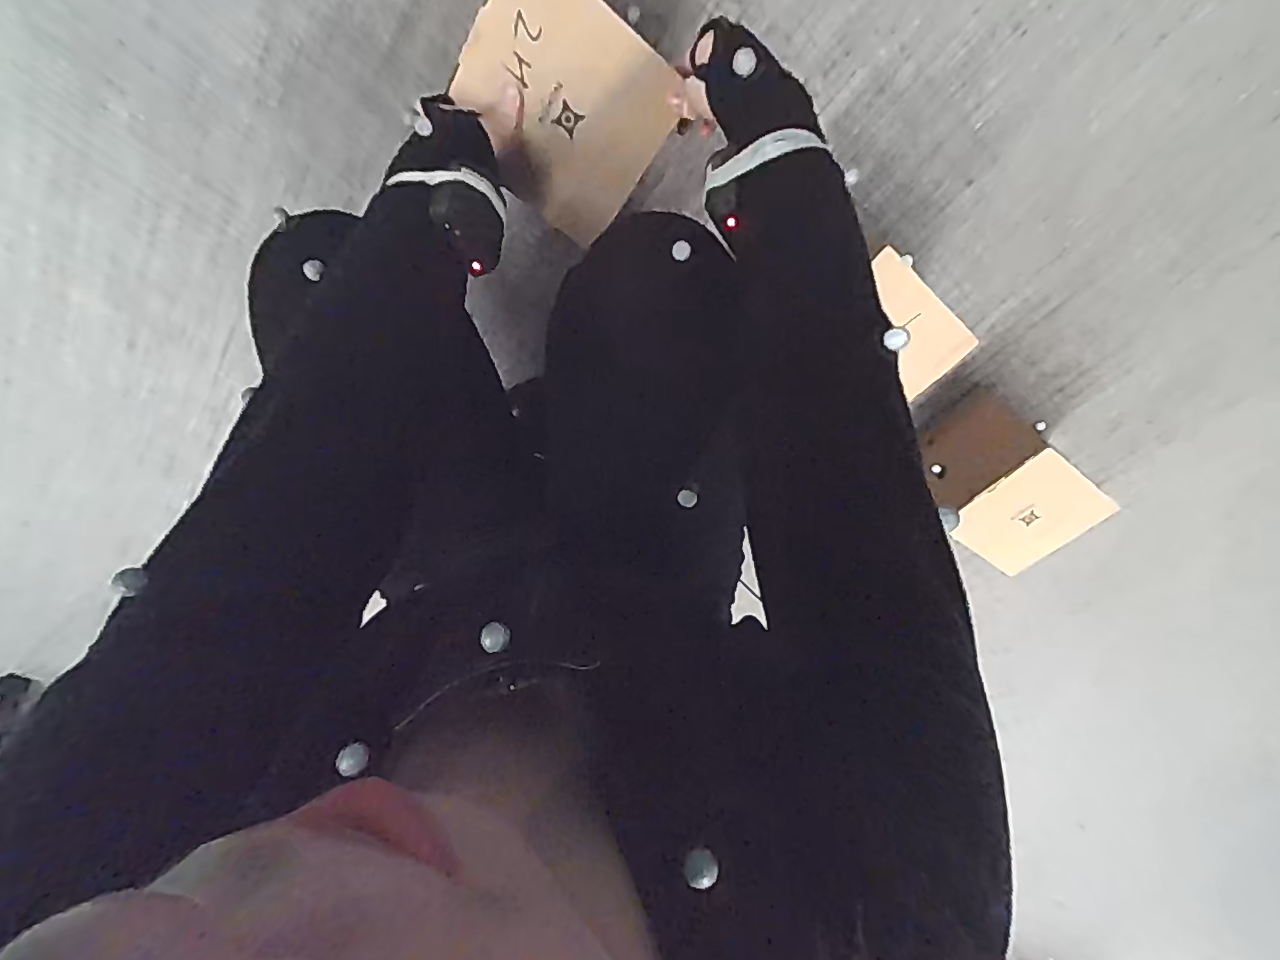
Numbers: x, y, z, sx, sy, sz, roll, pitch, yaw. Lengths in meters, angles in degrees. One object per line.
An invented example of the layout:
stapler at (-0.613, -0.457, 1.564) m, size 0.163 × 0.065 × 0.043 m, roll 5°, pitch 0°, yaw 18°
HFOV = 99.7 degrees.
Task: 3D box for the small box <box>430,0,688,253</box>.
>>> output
small box at (-0.072, -0.369, 0.543) m, size 0.179 × 0.176 × 0.168 m, roll 32°, pitch 120°, yaw -21°

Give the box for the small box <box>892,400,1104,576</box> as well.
small box at (0.515, 0.005, 0.806) m, size 0.179 × 0.176 × 0.168 m, roll 30°, pitch 122°, yaw -20°
